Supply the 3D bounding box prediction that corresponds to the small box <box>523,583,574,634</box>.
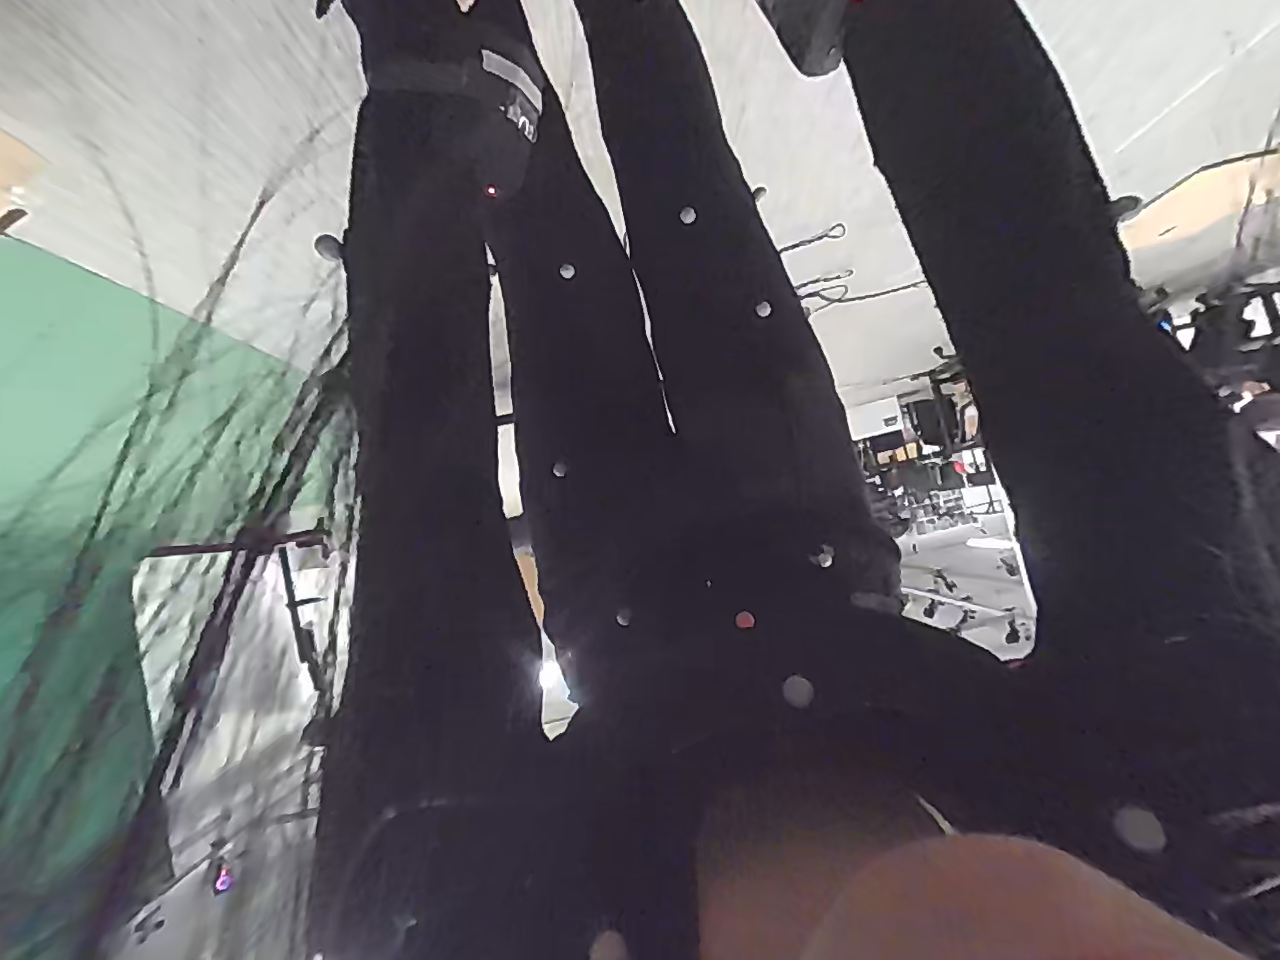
[{"bbox_3d":[-0.377,0.519,2.220,0.179,0.176,0.168,-11,174,-11],"label":"small box"}]
